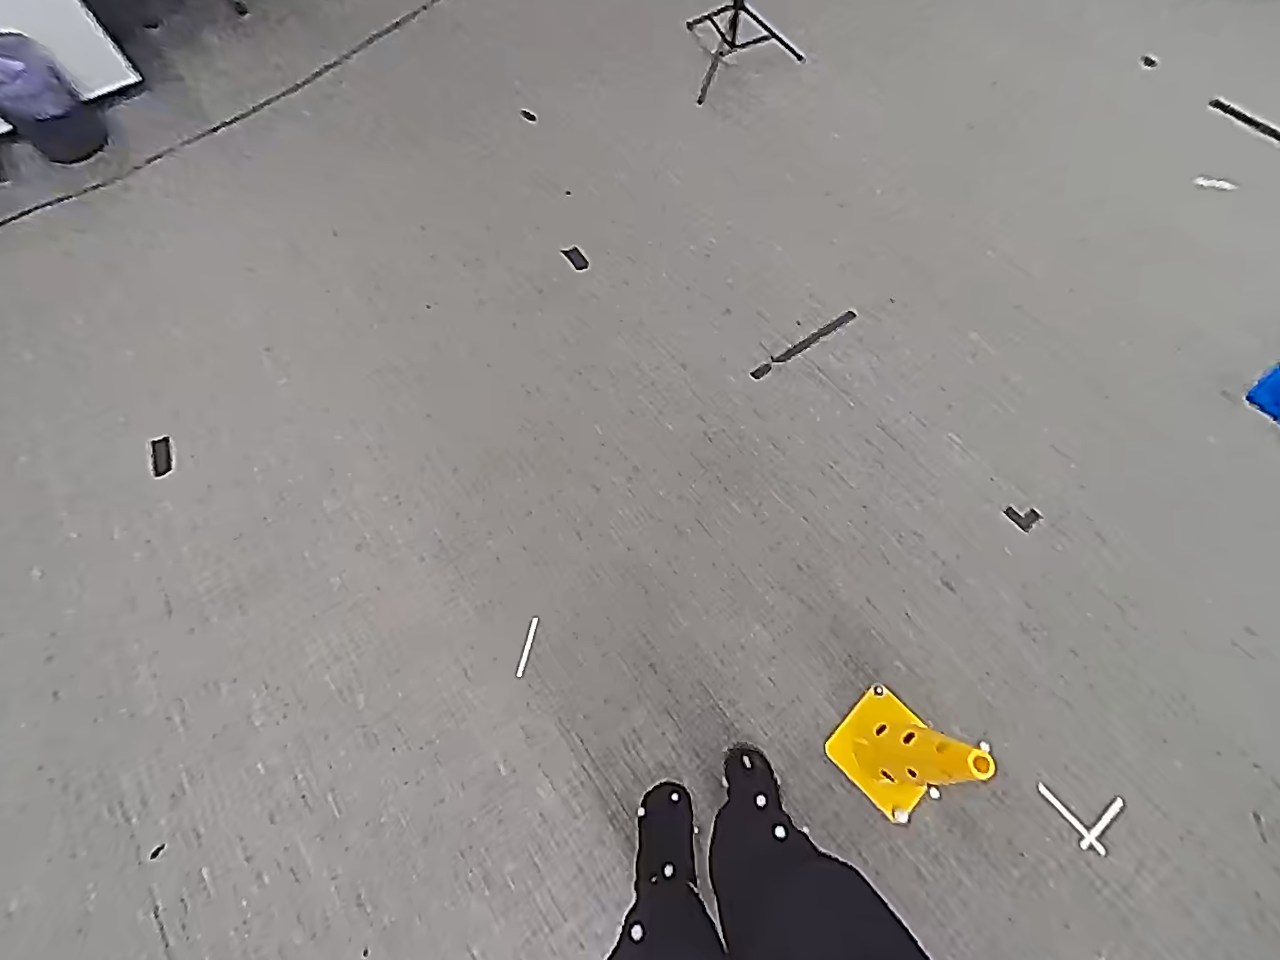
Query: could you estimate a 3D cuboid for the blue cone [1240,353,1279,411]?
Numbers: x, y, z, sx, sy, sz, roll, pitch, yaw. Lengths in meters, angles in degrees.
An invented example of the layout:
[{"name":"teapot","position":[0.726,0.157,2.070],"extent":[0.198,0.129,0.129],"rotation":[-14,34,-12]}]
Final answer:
[{"name":"blue cone","position":[1.786,-0.319,1.343],"extent":[0.193,0.380,0.192],"rotation":[-35,69,-14]}]
